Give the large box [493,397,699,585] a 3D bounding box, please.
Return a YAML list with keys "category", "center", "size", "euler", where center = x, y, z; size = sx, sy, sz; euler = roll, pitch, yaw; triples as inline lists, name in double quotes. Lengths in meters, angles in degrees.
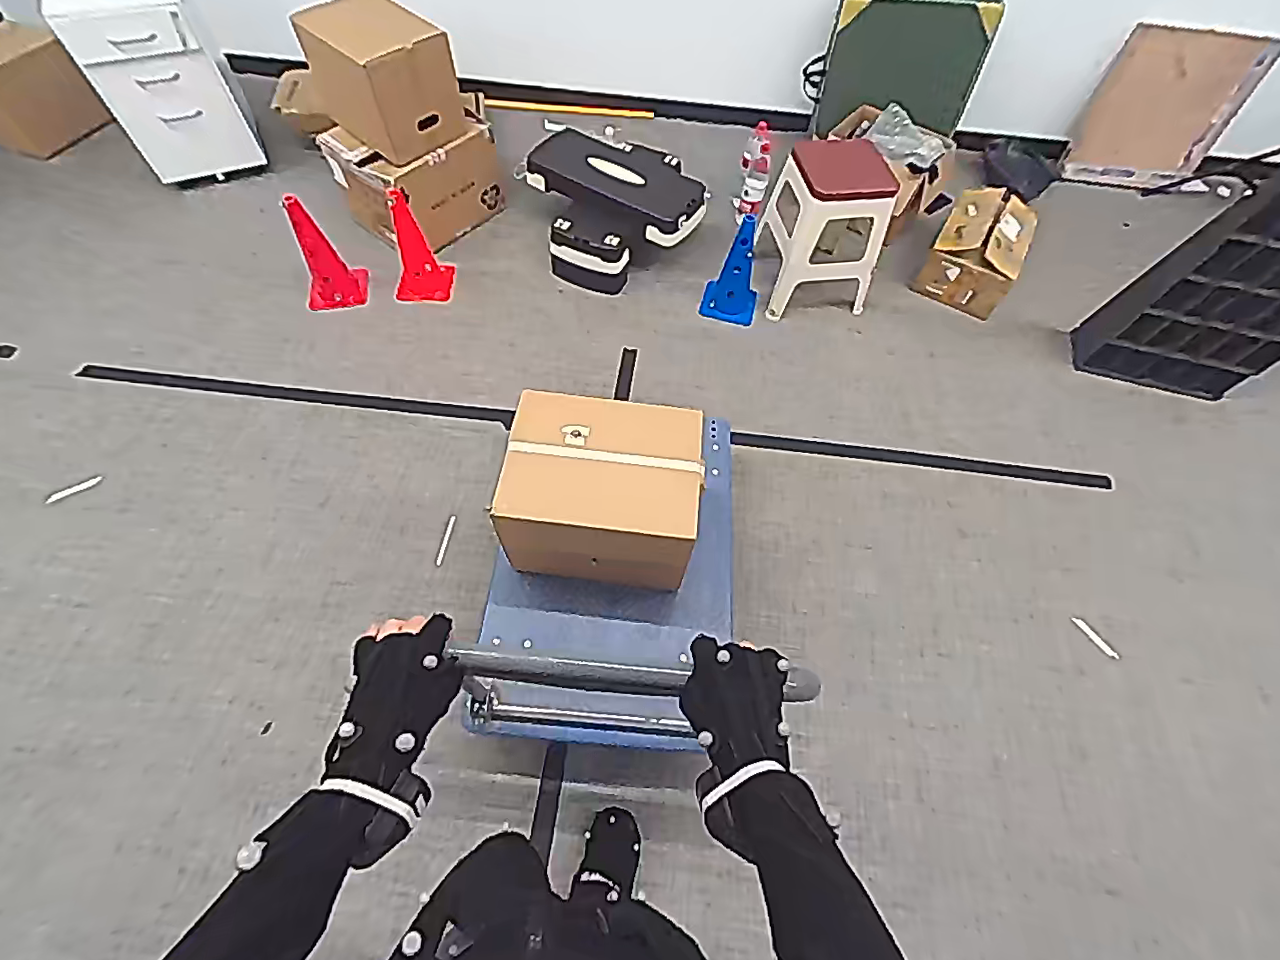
- category: "large box"
  center: [-0.082, 0.037, 1.263]
  size: [0.408, 0.320, 0.320]
  euler: [7, 60, 1]
